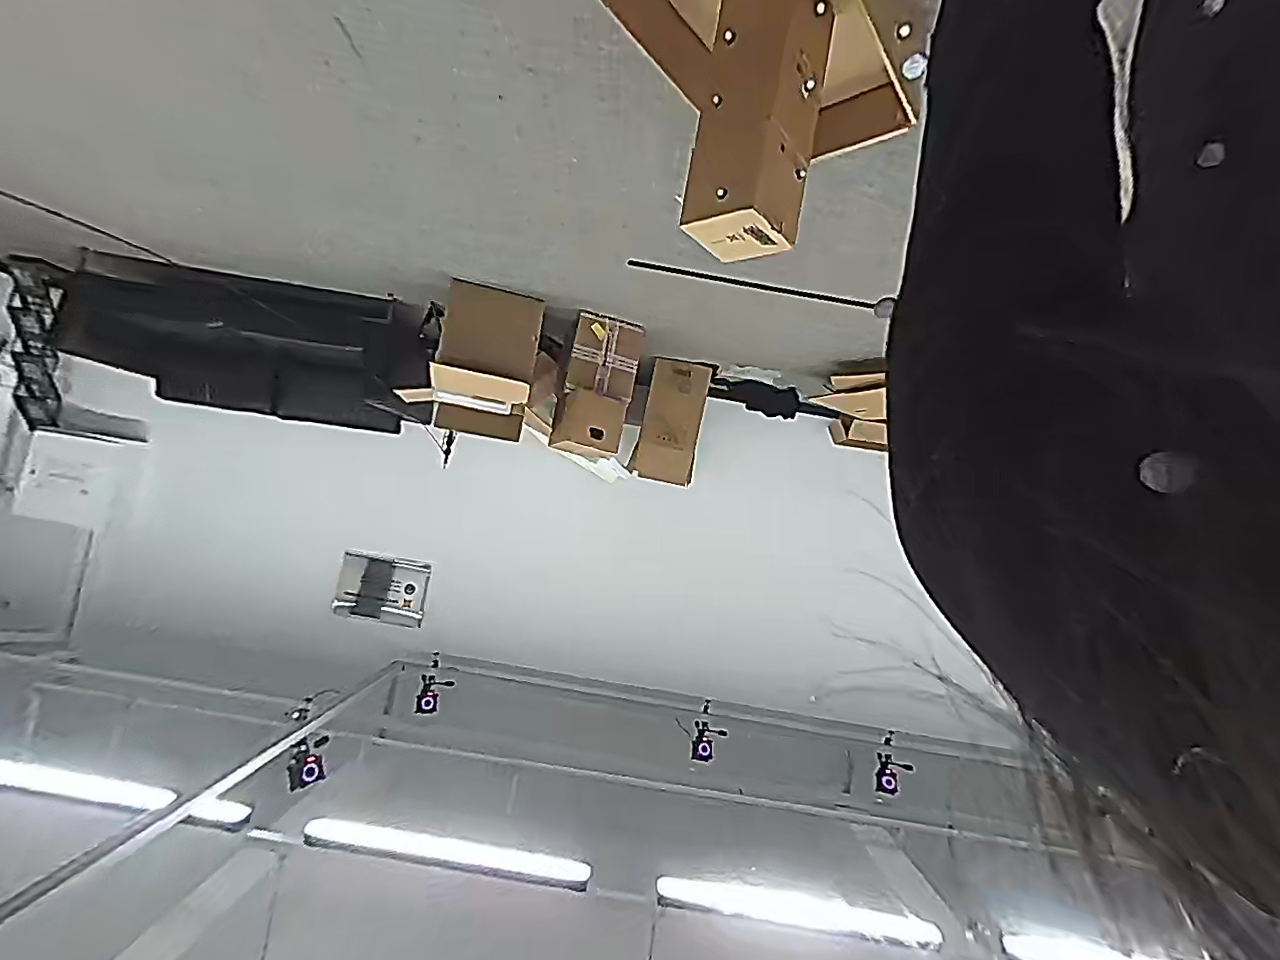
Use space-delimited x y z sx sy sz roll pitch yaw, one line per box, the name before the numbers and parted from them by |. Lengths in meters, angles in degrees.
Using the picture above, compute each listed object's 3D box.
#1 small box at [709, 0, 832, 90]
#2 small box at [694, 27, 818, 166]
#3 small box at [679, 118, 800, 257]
small box | 0.264 -0.894 1.085 0.179 0.176 0.168 7 177 40
small box | 0.234 -0.735 1.077 0.179 0.176 0.168 6 176 41
small box | 0.204 -0.573 1.074 0.179 0.176 0.168 9 178 43
